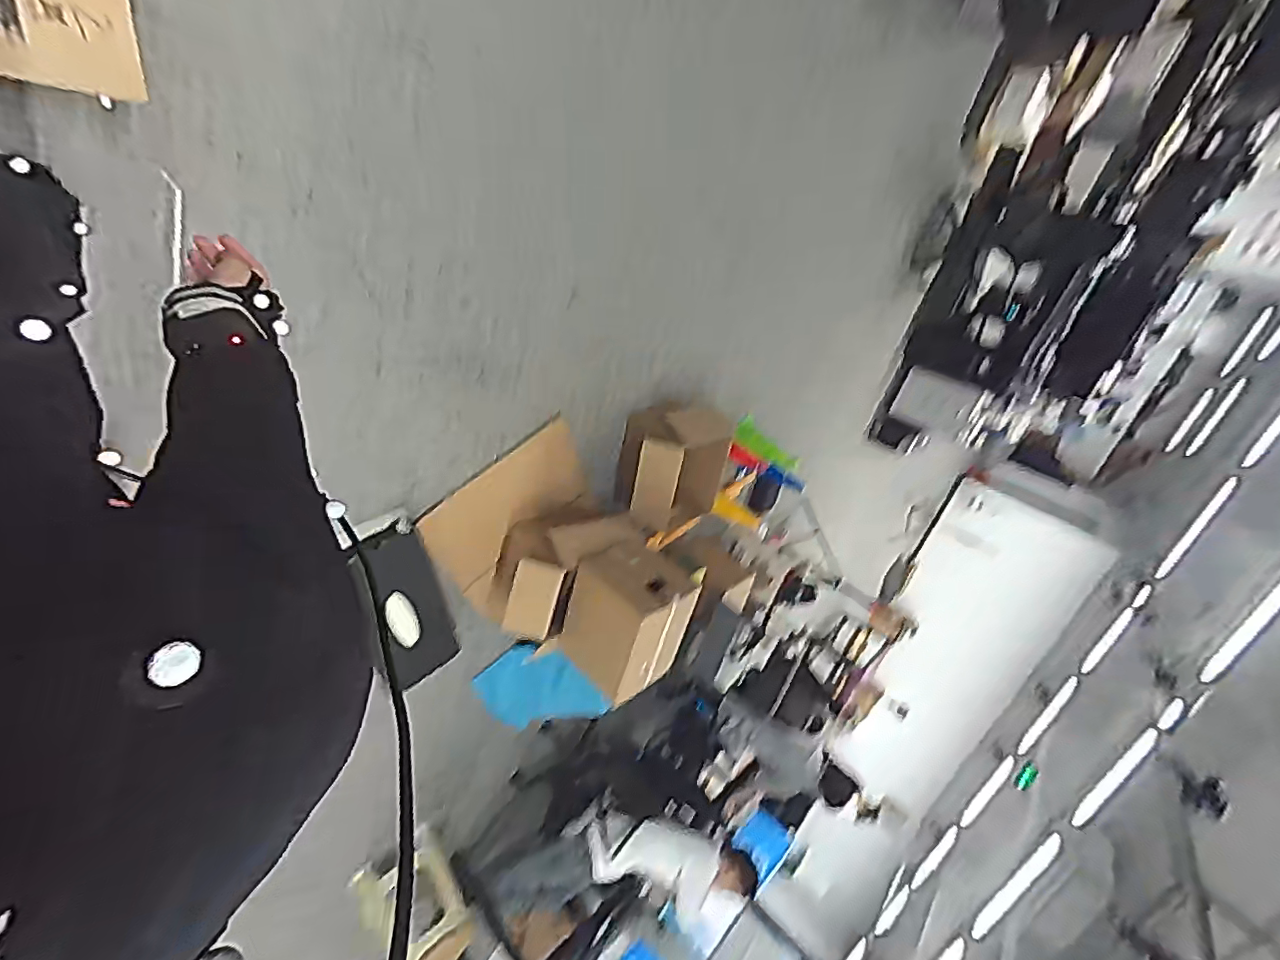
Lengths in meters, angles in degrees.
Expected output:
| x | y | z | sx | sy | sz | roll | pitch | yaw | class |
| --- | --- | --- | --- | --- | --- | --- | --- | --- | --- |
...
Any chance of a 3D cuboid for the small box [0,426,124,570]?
| x | y | z | sx | sy | sz | roll | pitch | yaw | class |
| --- | --- | --- | --- | --- | --- | --- | --- | --- | --- |
| -1.066 | 0.029 | 0.944 | 0.168 | 0.176 | 0.179 | -55 | 146 | -2 | small box |
